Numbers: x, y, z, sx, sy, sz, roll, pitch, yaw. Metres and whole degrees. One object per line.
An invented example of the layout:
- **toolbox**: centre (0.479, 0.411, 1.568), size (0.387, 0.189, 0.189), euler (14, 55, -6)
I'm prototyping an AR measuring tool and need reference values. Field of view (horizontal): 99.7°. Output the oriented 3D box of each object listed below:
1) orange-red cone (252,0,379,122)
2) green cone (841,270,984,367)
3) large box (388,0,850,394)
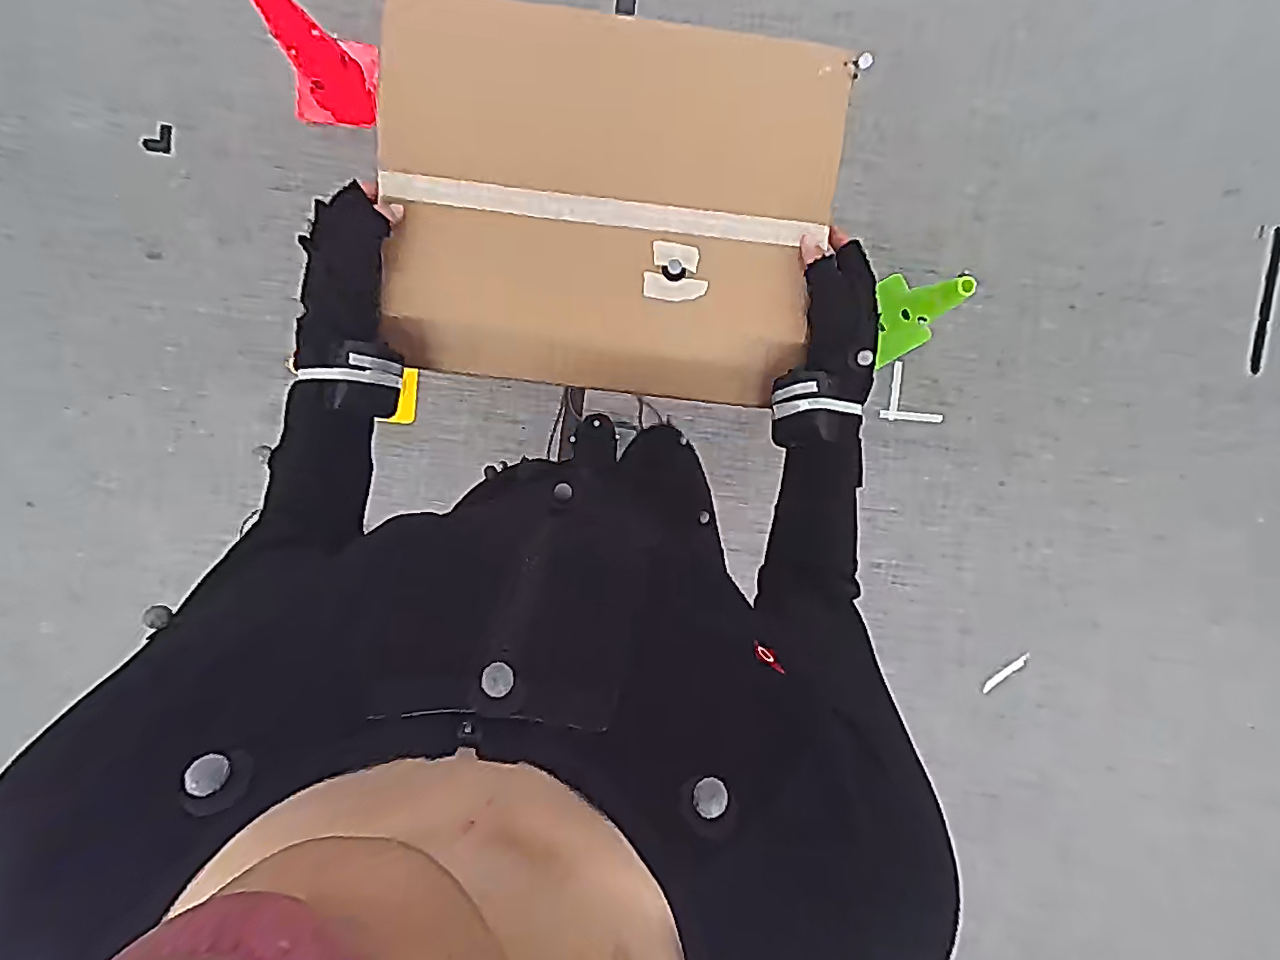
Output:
- **orange-red cone**: centre (-0.755, -0.992, 1.189), size (0.198, 0.360, 0.199), euler (5, 96, -1)
- **green cone**: centre (0.667, -0.415, 1.274), size (0.202, 0.368, 0.200), euler (-31, 96, 0)
- **large box**: centre (-0.032, -0.278, 0.638), size (0.408, 0.320, 0.320), euler (6, 101, -3)
